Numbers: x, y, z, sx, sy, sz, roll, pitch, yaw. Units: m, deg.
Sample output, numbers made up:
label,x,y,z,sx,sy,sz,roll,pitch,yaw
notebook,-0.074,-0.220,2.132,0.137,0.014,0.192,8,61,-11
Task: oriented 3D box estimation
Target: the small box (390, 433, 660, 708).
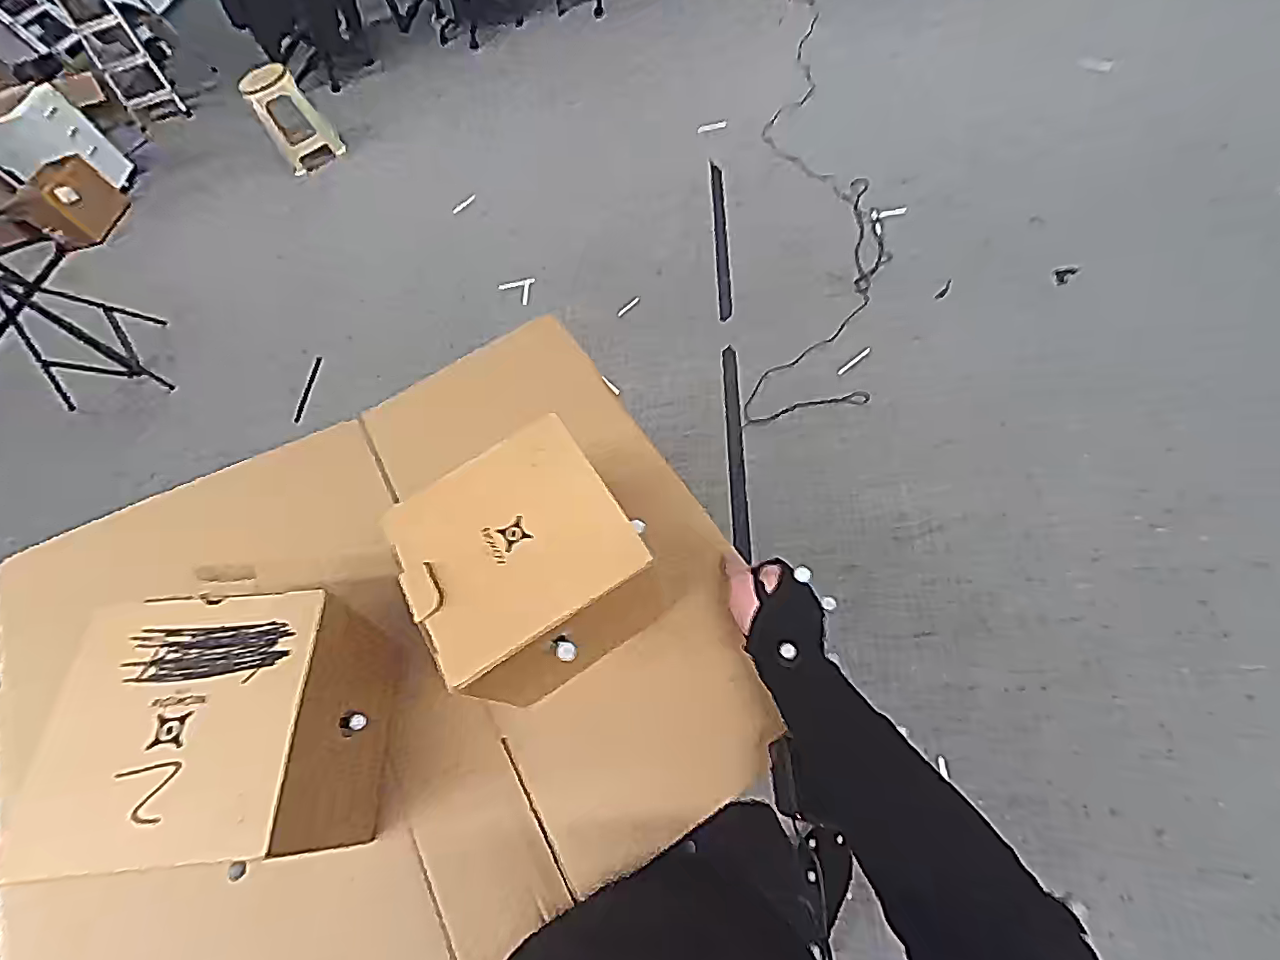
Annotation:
label,x,y,z,sx,sy,sz,roll,pitch,yaw
small box,-0.092,0.093,0.515,0.179,0.176,0.168,-33,64,-8
